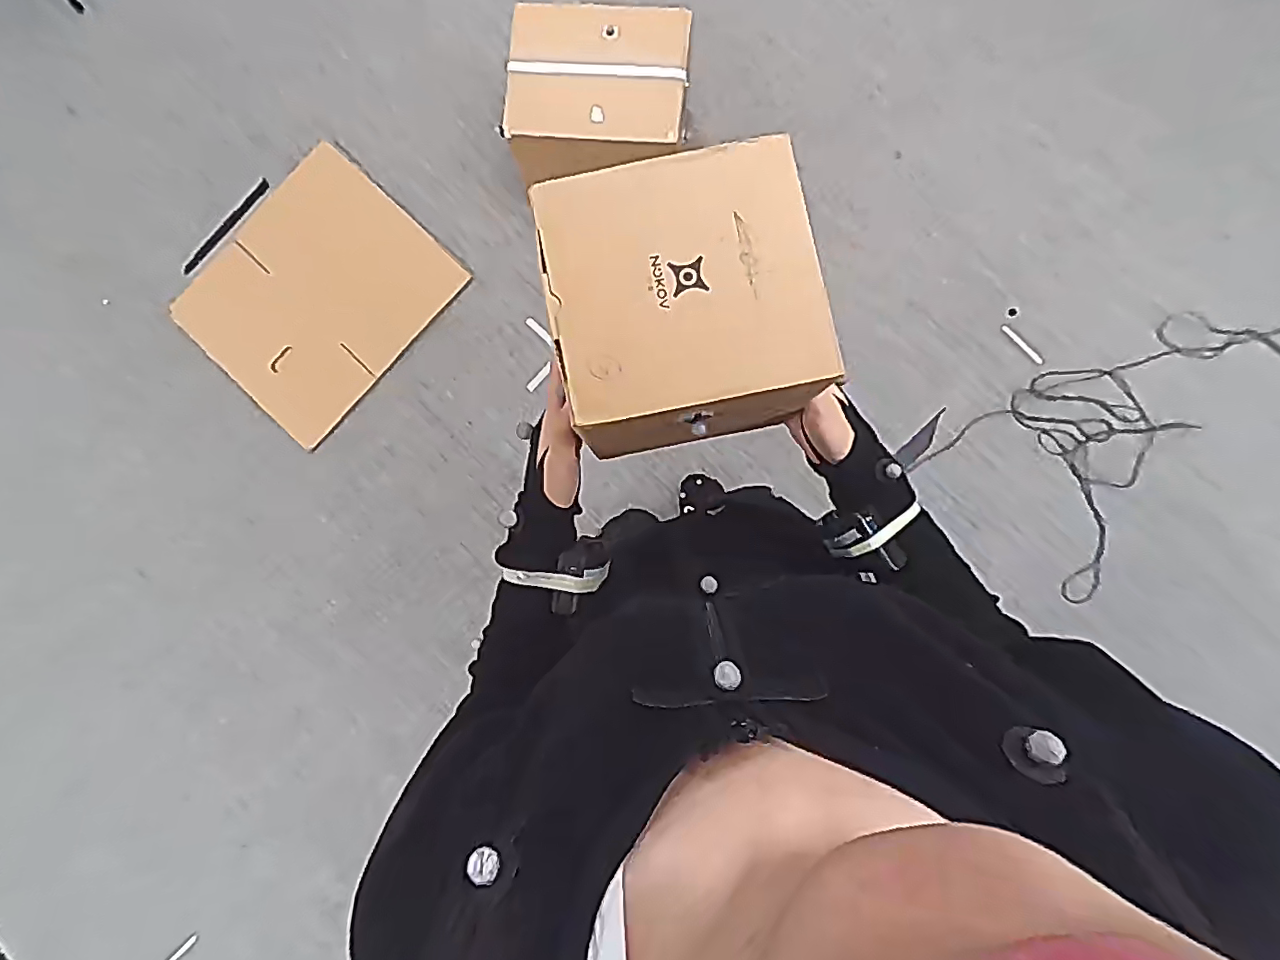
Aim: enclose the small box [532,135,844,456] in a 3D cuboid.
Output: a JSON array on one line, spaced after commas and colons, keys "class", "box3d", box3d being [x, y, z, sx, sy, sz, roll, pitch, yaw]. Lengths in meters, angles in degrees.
[{"class": "small box", "box3d": [0.031, -0.121, 0.425, 0.179, 0.176, 0.168, -12, 85, 0]}]
